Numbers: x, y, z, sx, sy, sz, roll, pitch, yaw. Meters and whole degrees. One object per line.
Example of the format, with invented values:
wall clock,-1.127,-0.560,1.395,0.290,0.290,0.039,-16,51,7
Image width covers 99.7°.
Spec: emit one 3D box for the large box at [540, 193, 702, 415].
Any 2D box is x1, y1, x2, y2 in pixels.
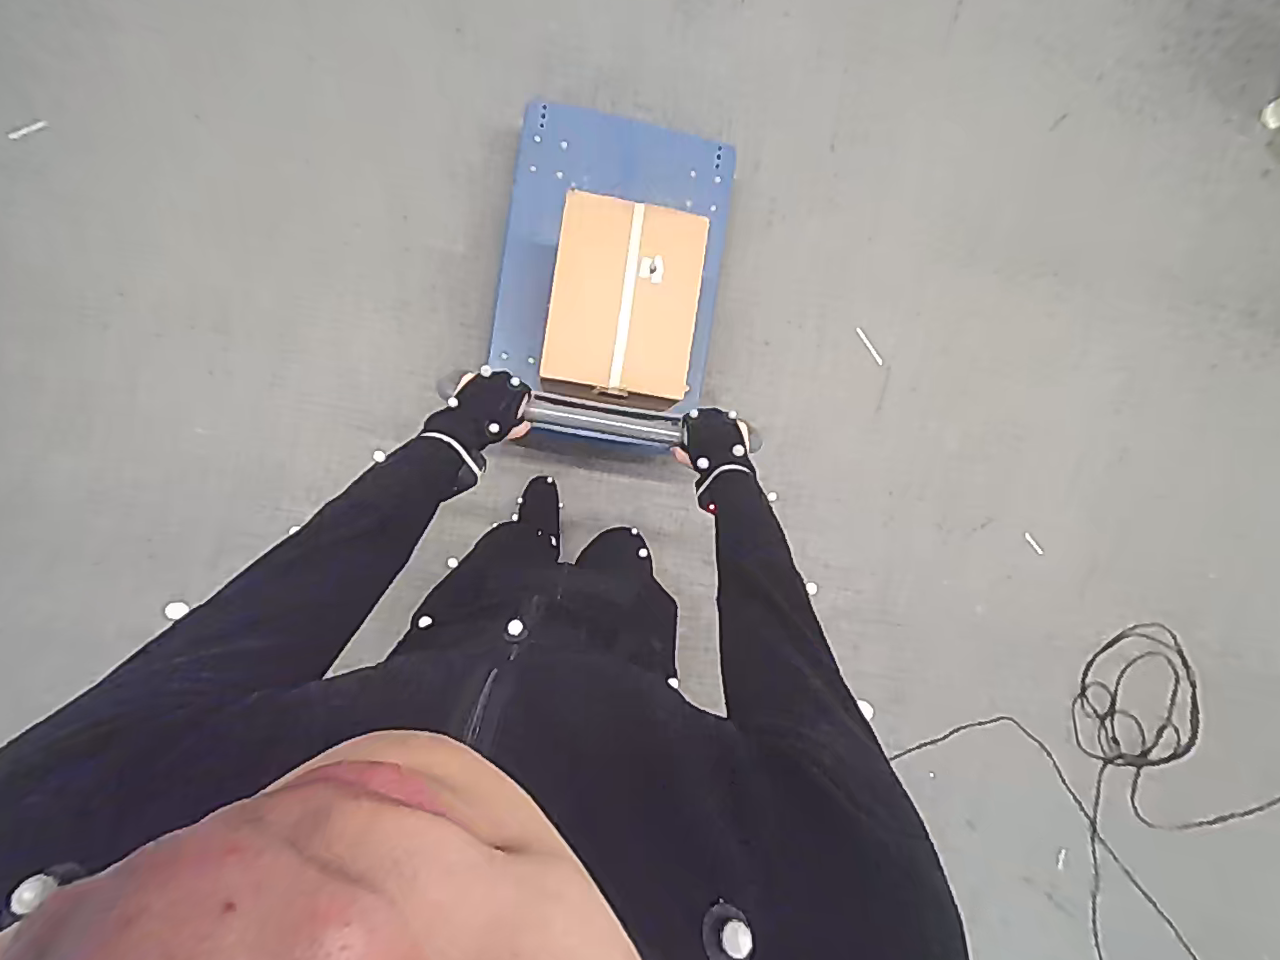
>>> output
large box,-0.055,-0.389,1.302,0.320,0.320,0.408,8,88,-8
